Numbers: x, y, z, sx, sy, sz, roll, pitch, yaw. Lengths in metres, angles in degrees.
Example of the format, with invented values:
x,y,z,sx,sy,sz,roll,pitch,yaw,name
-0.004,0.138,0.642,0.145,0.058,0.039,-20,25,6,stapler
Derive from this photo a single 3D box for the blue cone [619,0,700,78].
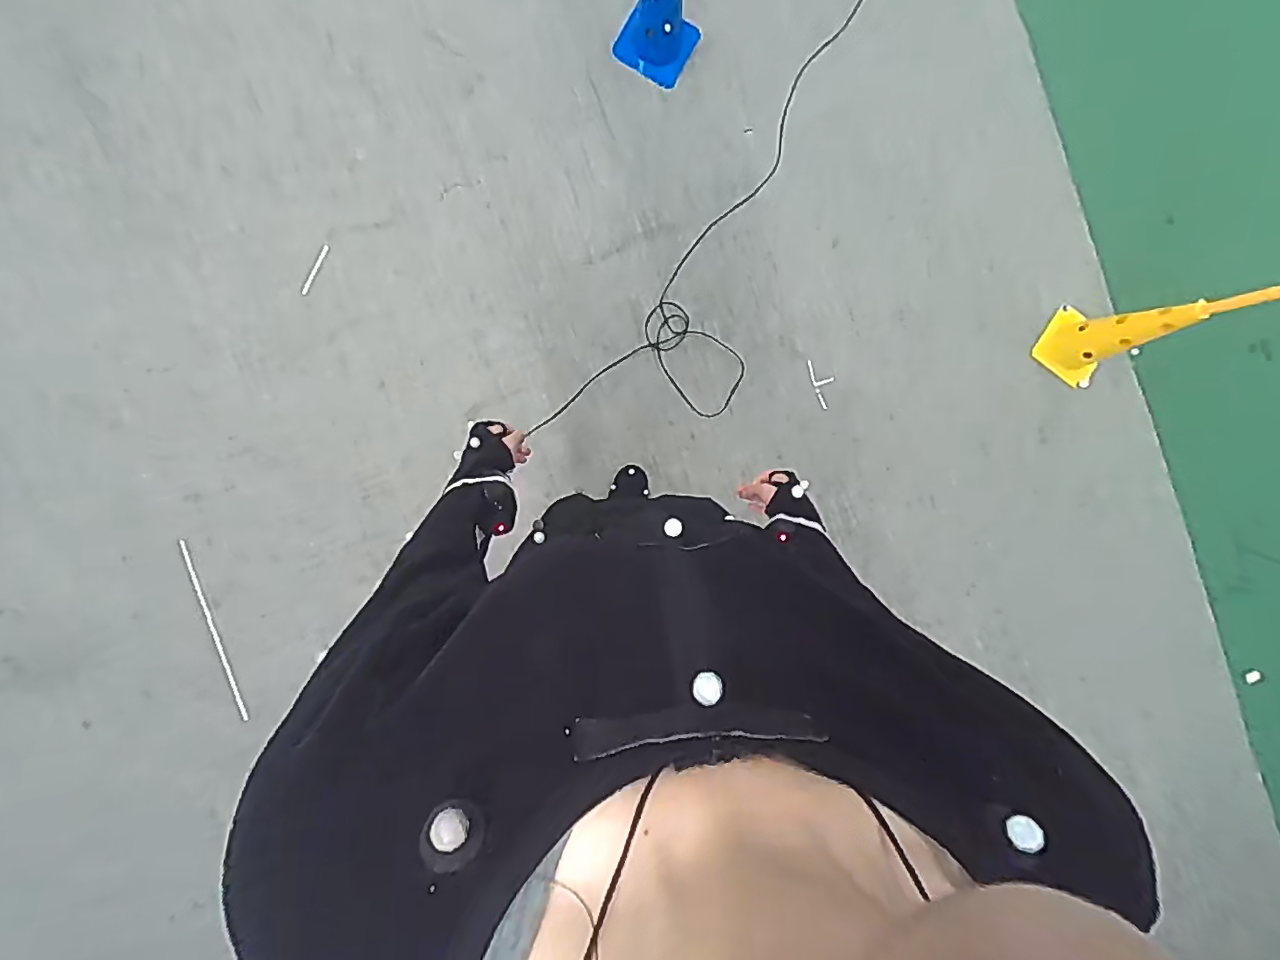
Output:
x,y,z,sx,sy,sz,roll,pitch,yaw,name
0.063,-1.230,1.339,0.193,0.380,0.192,27,88,-3,blue cone
